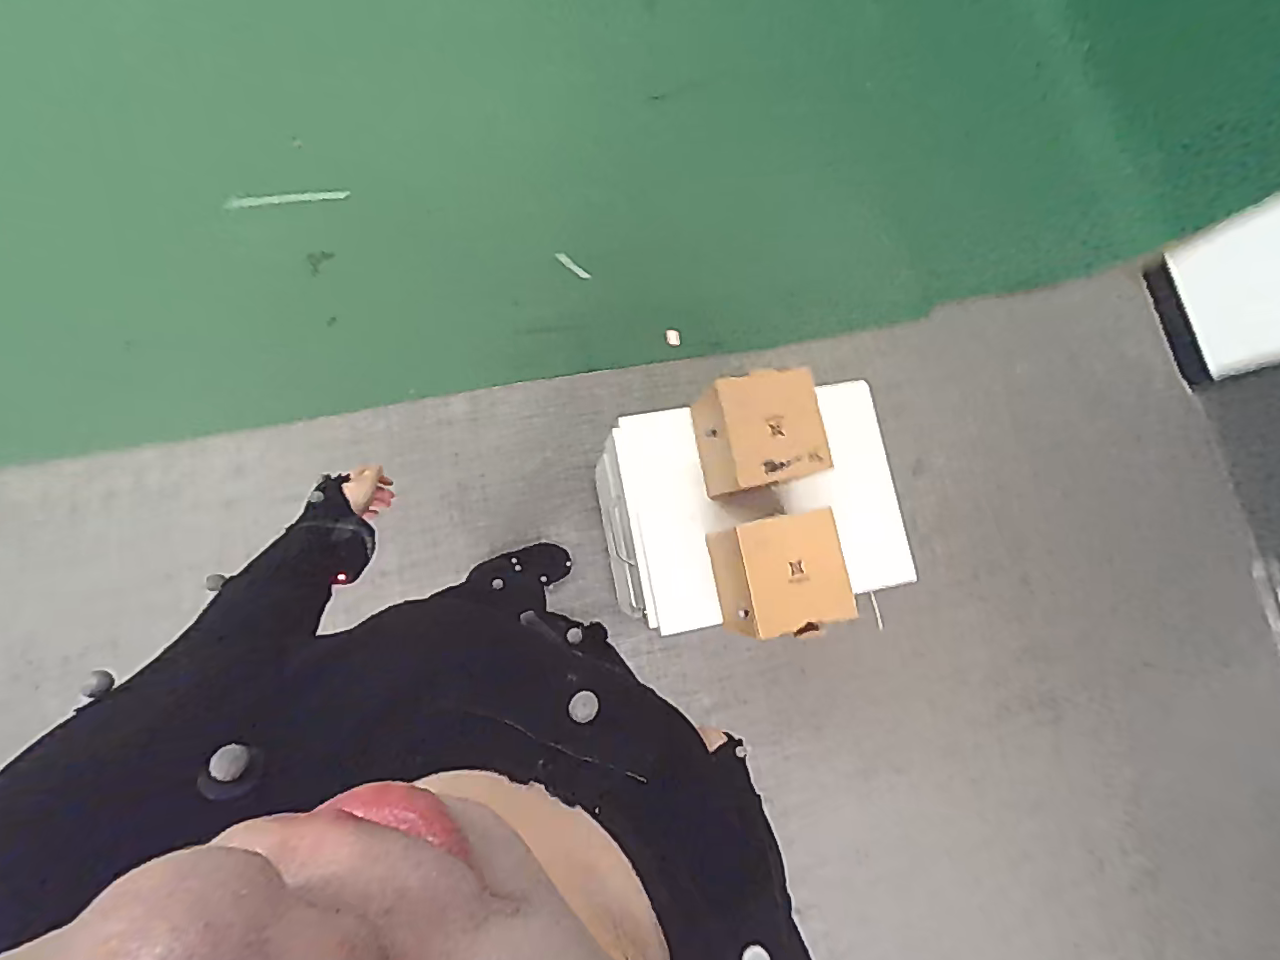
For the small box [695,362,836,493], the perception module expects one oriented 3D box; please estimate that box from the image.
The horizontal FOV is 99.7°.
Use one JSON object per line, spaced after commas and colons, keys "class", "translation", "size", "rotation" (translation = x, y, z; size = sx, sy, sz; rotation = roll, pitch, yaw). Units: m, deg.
{"class": "small box", "translation": [0.203, -0.083, 0.927], "size": [0.168, 0.176, 0.179], "rotation": [-10, 84, -10]}
